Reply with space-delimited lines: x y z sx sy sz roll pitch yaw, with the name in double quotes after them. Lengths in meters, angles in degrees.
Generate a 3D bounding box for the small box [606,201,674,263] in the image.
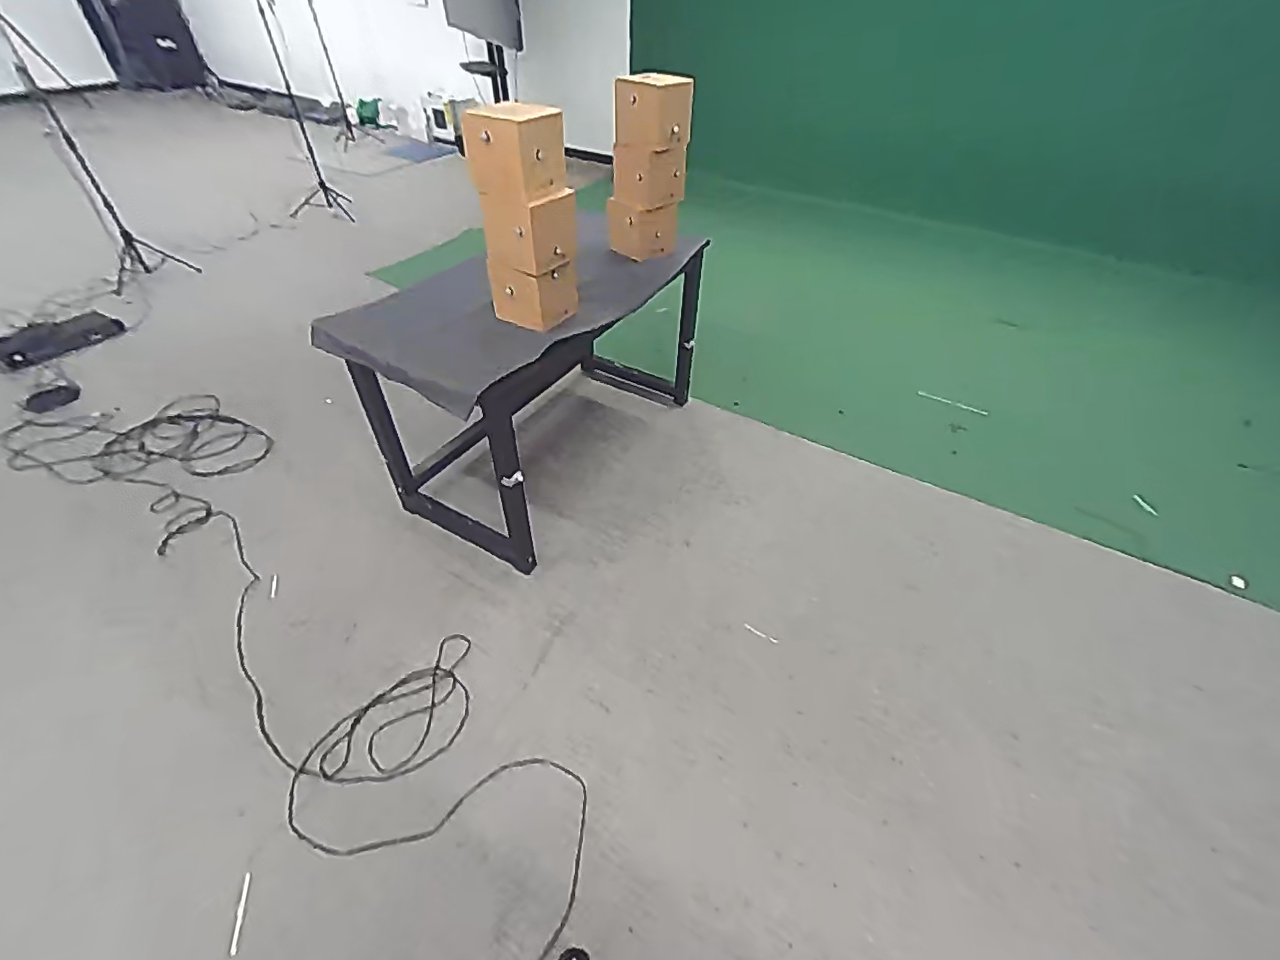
-0.001 -0.868 1.870 0.168 0.176 0.179 -29 49 -28 "small box"

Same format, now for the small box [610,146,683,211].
0.020 -0.993 1.768 0.168 0.176 0.179 -33 51 -32 "small box"

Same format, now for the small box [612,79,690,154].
0.031 -1.115 1.658 0.179 0.176 0.168 30 50 27 "small box"

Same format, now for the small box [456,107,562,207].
-0.302 -0.768 1.290 0.179 0.176 0.168 22 48 21 "small box"

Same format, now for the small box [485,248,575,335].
-0.301 -0.524 1.508 0.179 0.176 0.168 22 47 21 "small box"
